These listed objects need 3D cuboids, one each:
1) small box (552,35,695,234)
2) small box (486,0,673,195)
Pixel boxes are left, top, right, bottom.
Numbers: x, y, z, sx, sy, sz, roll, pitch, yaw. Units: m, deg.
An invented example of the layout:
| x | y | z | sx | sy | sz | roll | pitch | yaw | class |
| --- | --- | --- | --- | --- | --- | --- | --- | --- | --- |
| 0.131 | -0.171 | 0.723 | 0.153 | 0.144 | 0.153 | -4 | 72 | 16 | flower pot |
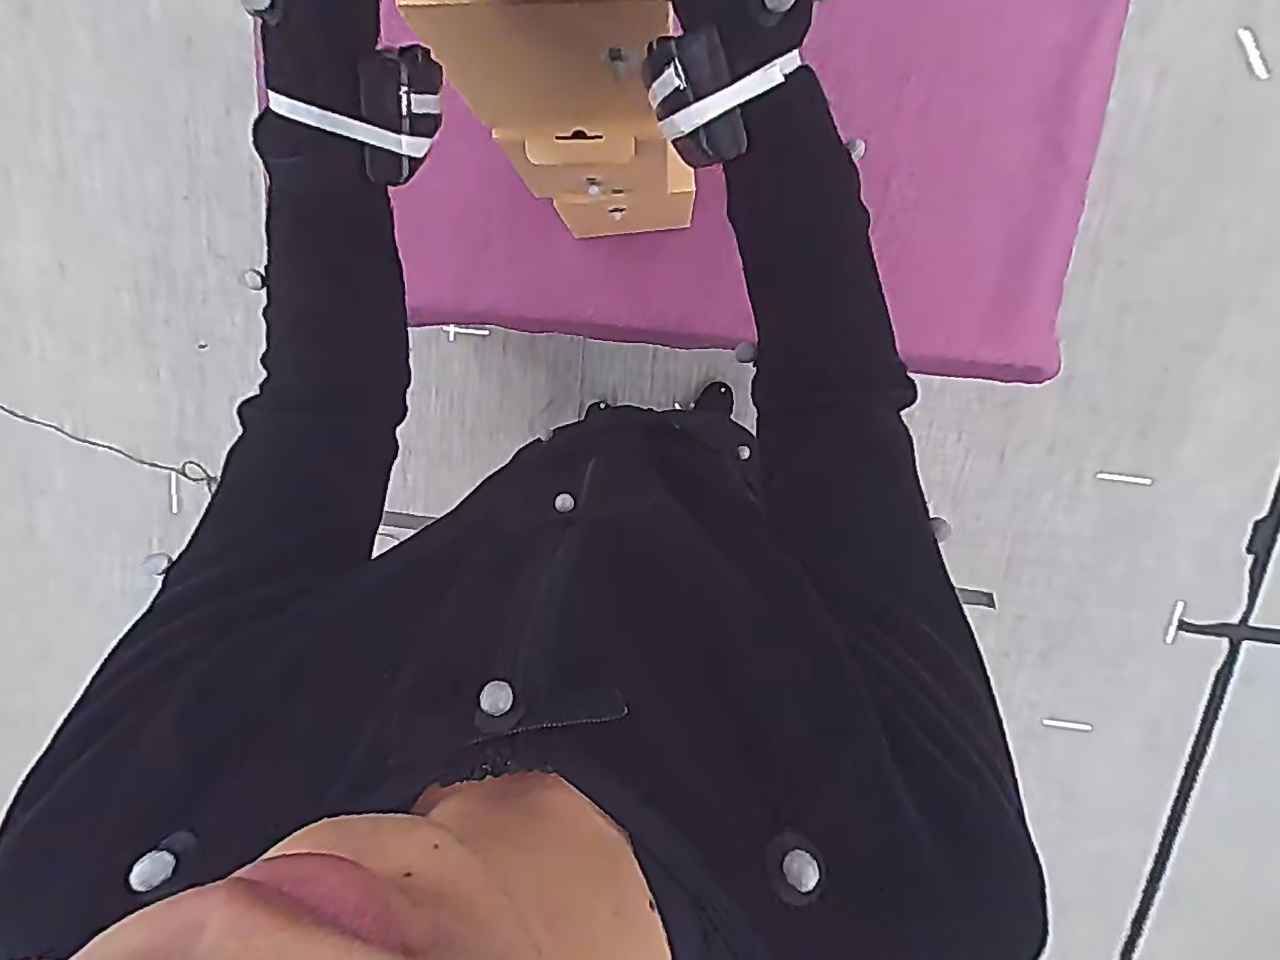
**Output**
| x | y | z | sx | sy | sz | roll | pitch | yaw | class |
| --- | --- | --- | --- | --- | --- | --- | --- | --- | --- |
| -0.022 | -0.437 | 0.714 | 0.179 | 0.176 | 0.168 | -4 | 101 | 3 | small box |
| -0.051 | -0.413 | 0.553 | 0.168 | 0.176 | 0.179 | 1 | 101 | 3 | small box |
